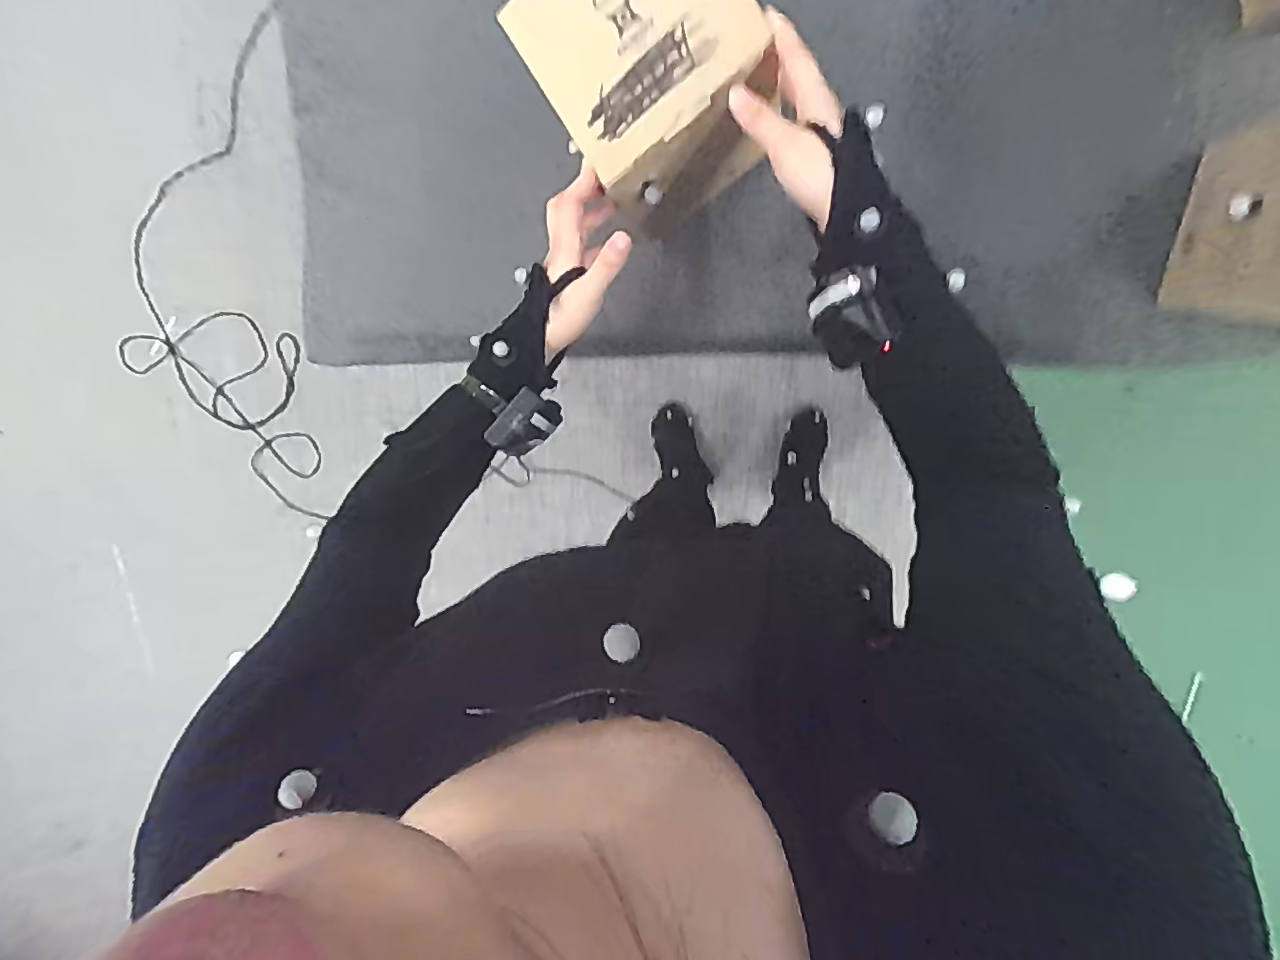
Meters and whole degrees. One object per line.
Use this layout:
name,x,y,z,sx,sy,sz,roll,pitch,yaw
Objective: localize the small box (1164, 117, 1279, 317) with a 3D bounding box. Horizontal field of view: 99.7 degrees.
small box,0.654,-0.243,0.493,0.179,0.176,0.168,8,104,4
